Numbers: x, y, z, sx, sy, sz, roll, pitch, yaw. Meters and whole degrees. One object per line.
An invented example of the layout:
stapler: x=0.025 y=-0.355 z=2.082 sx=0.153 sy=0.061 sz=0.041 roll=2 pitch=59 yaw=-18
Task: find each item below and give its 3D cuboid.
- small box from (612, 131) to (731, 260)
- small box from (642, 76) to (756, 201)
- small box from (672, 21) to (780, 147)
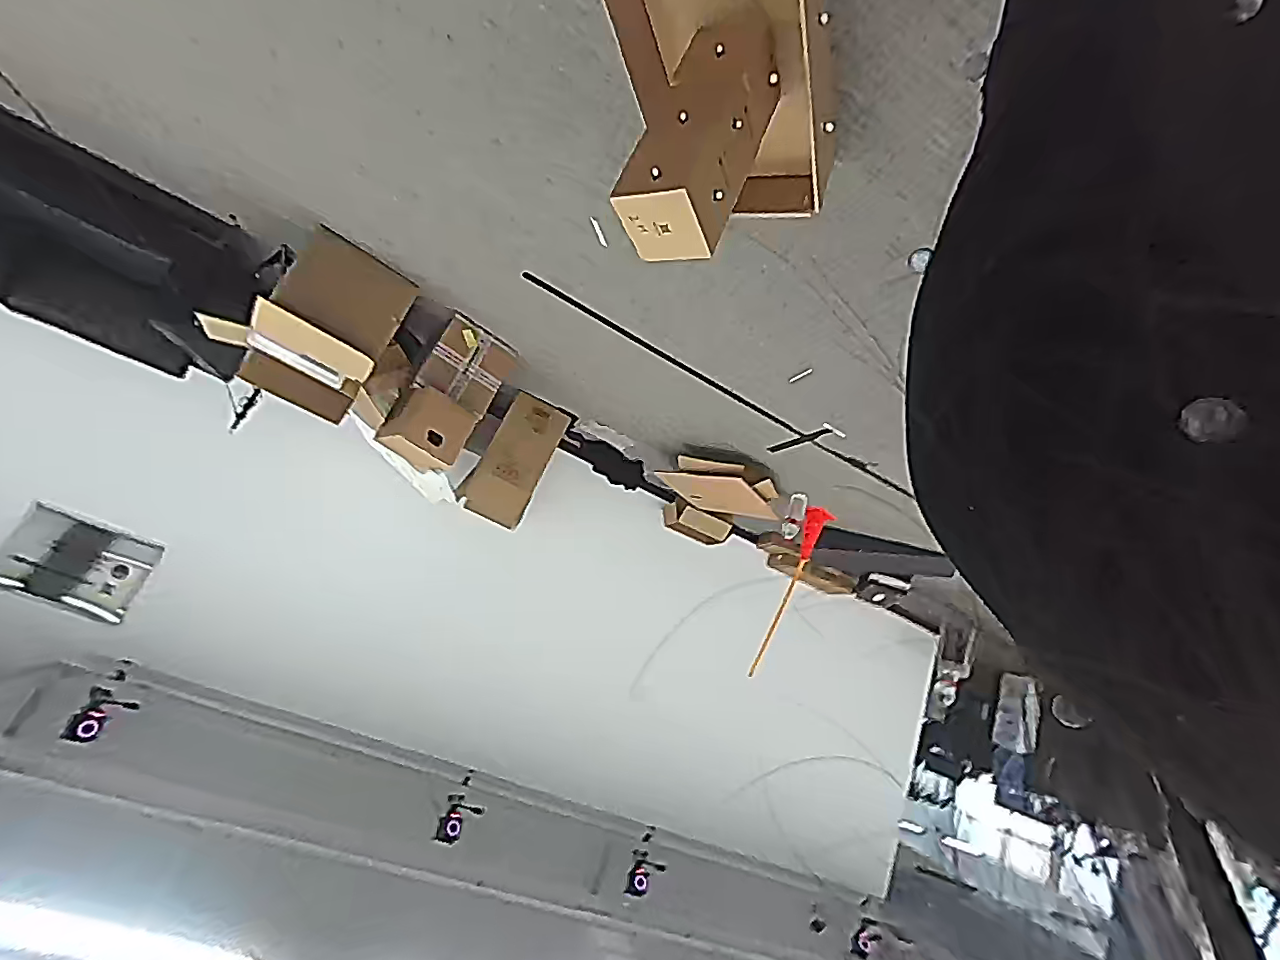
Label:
small box: x=0.075 y=-0.580 z=1.109 sx=0.179 sy=0.176 sz=0.168 roll=12 pitch=159 yaw=31
small box: x=0.137 y=-0.725 z=1.163 sx=0.179 sy=0.176 sz=0.168 roll=14 pitch=160 yaw=32
small box: x=0.196 y=-0.870 z=1.202 sx=0.179 sy=0.176 sz=0.168 roll=13 pitch=161 yaw=27
